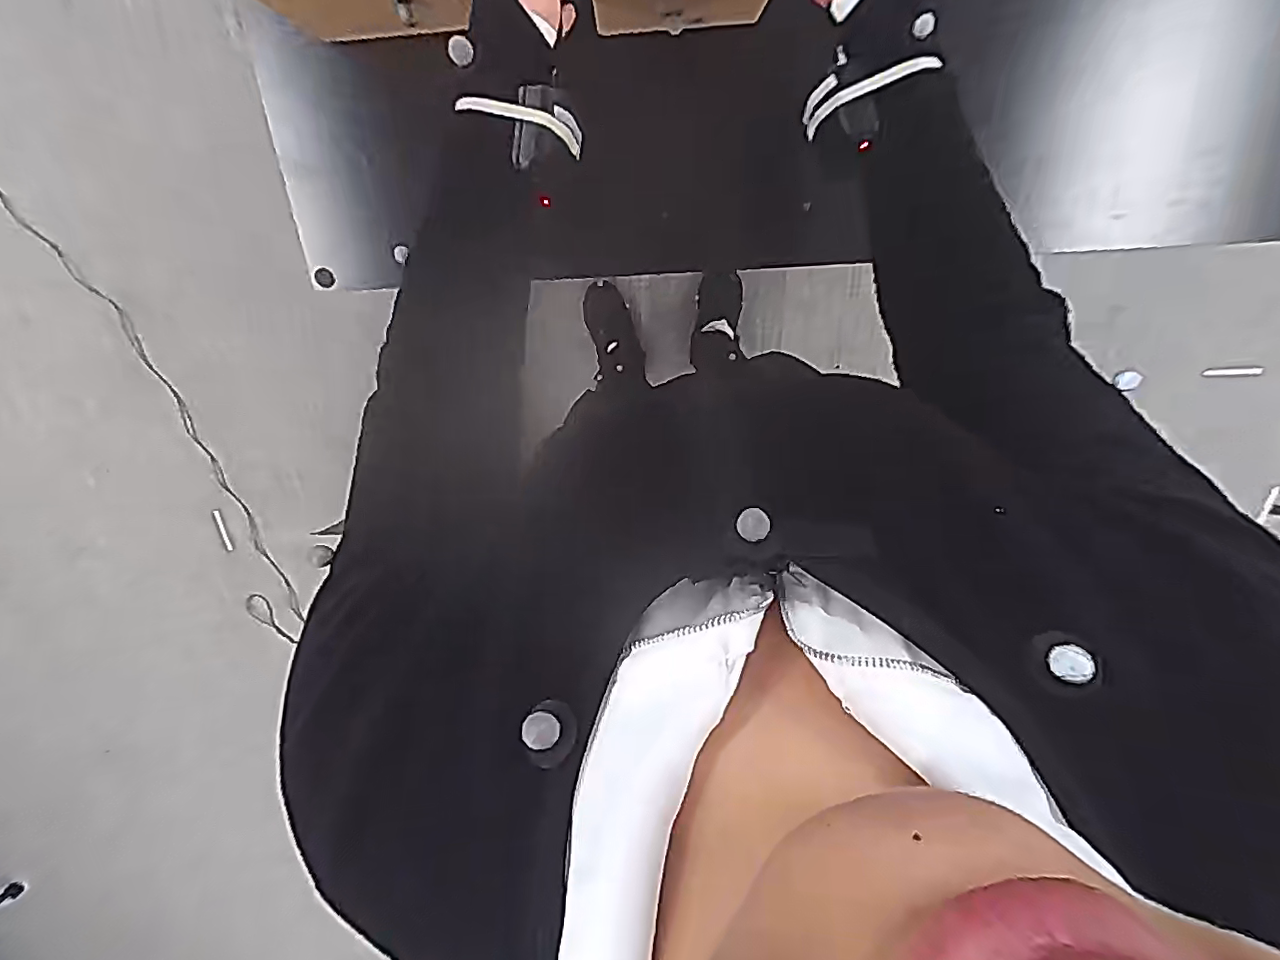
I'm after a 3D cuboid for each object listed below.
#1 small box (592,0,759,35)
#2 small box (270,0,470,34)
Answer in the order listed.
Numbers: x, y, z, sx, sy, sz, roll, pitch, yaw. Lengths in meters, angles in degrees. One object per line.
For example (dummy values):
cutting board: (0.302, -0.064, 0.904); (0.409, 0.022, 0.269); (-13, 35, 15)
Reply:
small box: (0.029, -0.517, 0.457); (0.168, 0.176, 0.179); (-3, 115, 1)
small box: (-0.257, -0.511, 0.458); (0.168, 0.176, 0.179); (-5, 113, 0)
